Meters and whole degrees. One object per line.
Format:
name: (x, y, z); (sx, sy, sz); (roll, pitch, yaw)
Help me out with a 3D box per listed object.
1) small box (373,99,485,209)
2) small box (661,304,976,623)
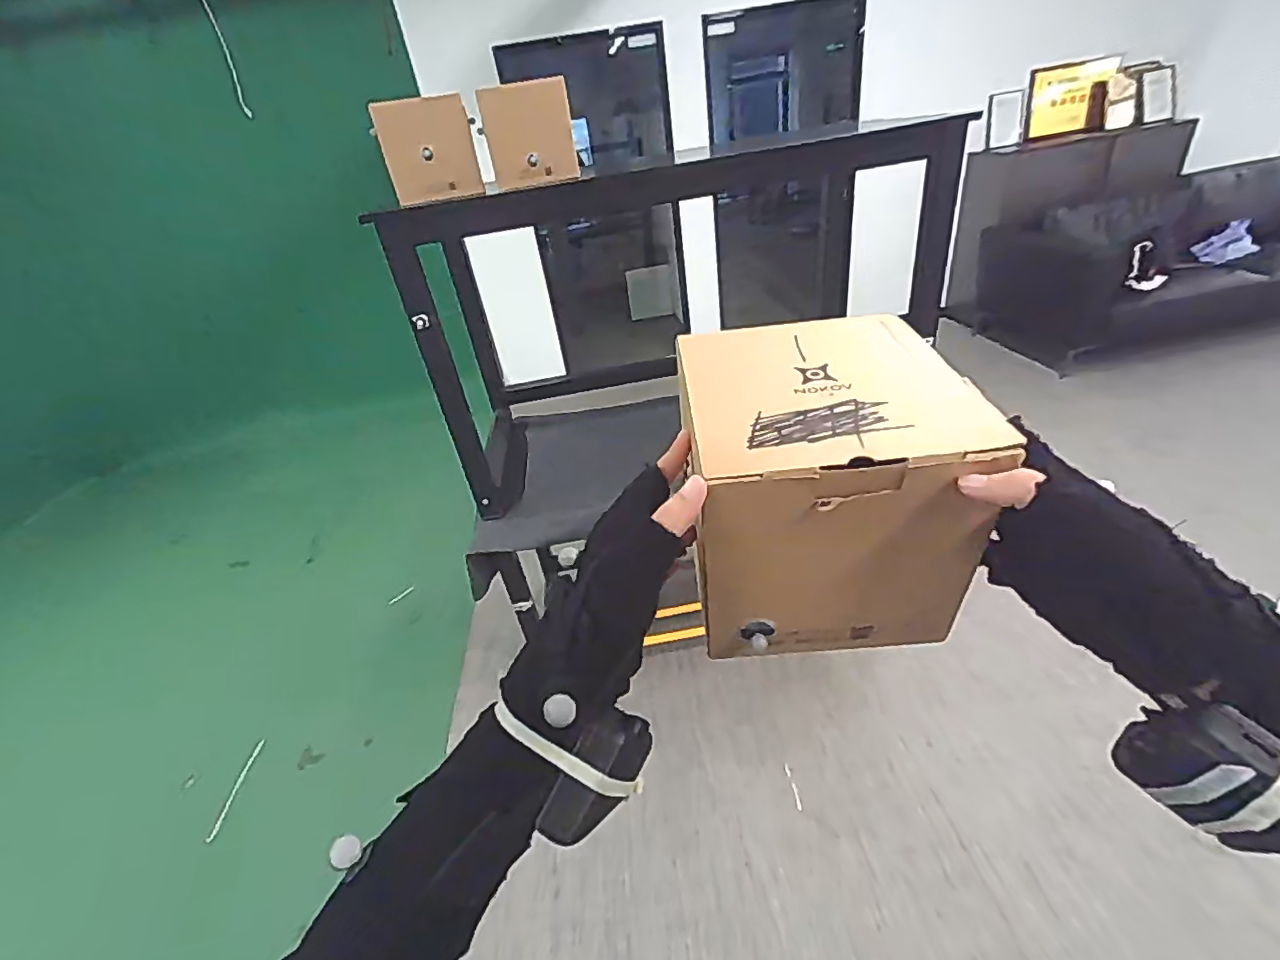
small box: (-0.420, -0.661, 1.109); (0.168, 0.176, 0.179); (-13, 31, -9)
small box: (0.107, -0.010, 0.402); (0.168, 0.176, 0.179); (-6, 38, 3)
